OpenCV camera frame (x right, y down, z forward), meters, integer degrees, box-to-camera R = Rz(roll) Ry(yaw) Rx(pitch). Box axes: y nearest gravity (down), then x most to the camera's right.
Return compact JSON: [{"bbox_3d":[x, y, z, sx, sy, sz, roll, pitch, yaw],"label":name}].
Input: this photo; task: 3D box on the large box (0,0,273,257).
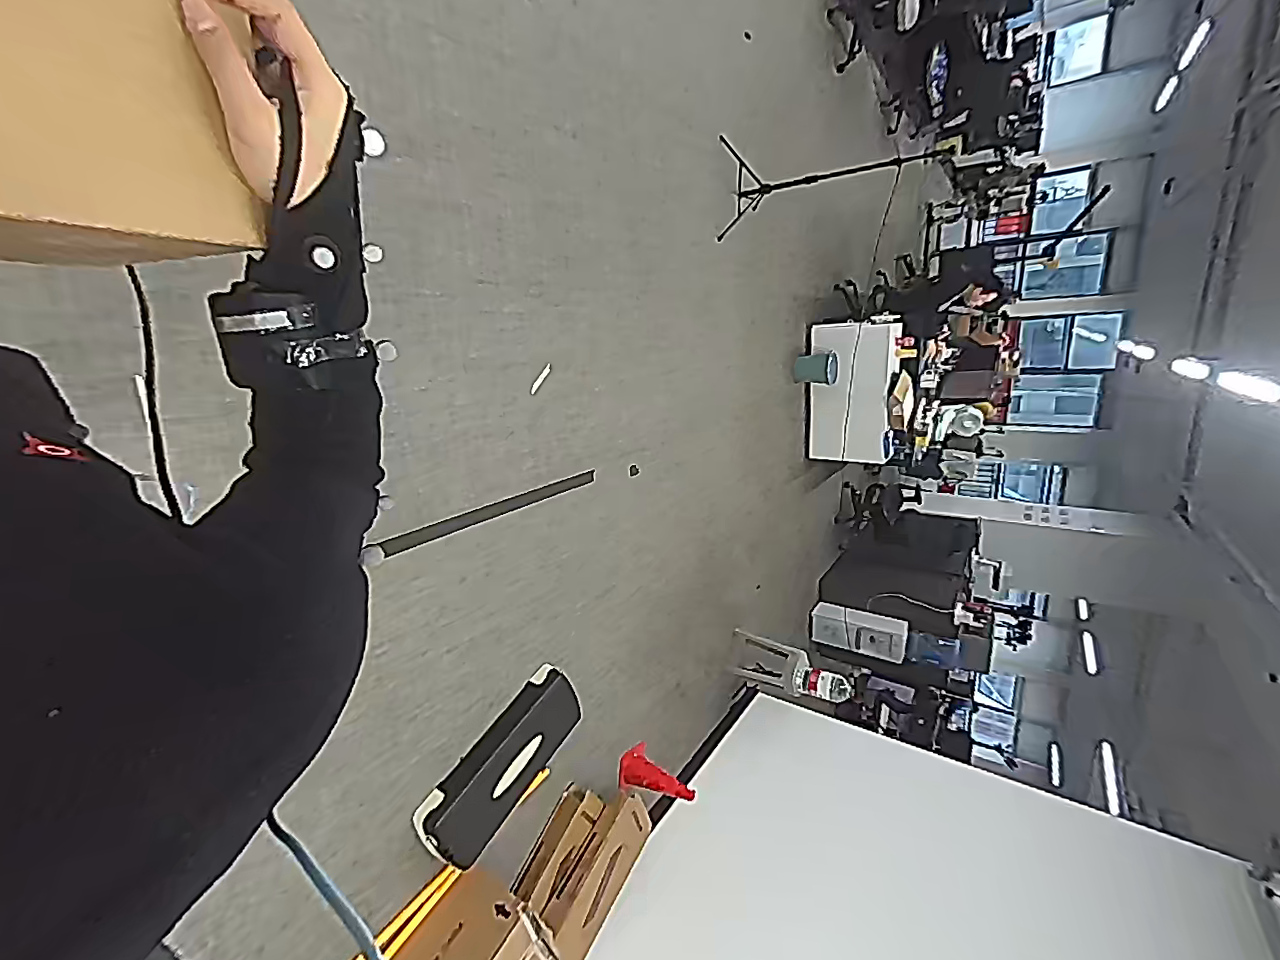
[{"bbox_3d":[-0.454,-0.275,0.206,0.408,0.320,0.320,-22,119,-55],"label":"large box"}]
